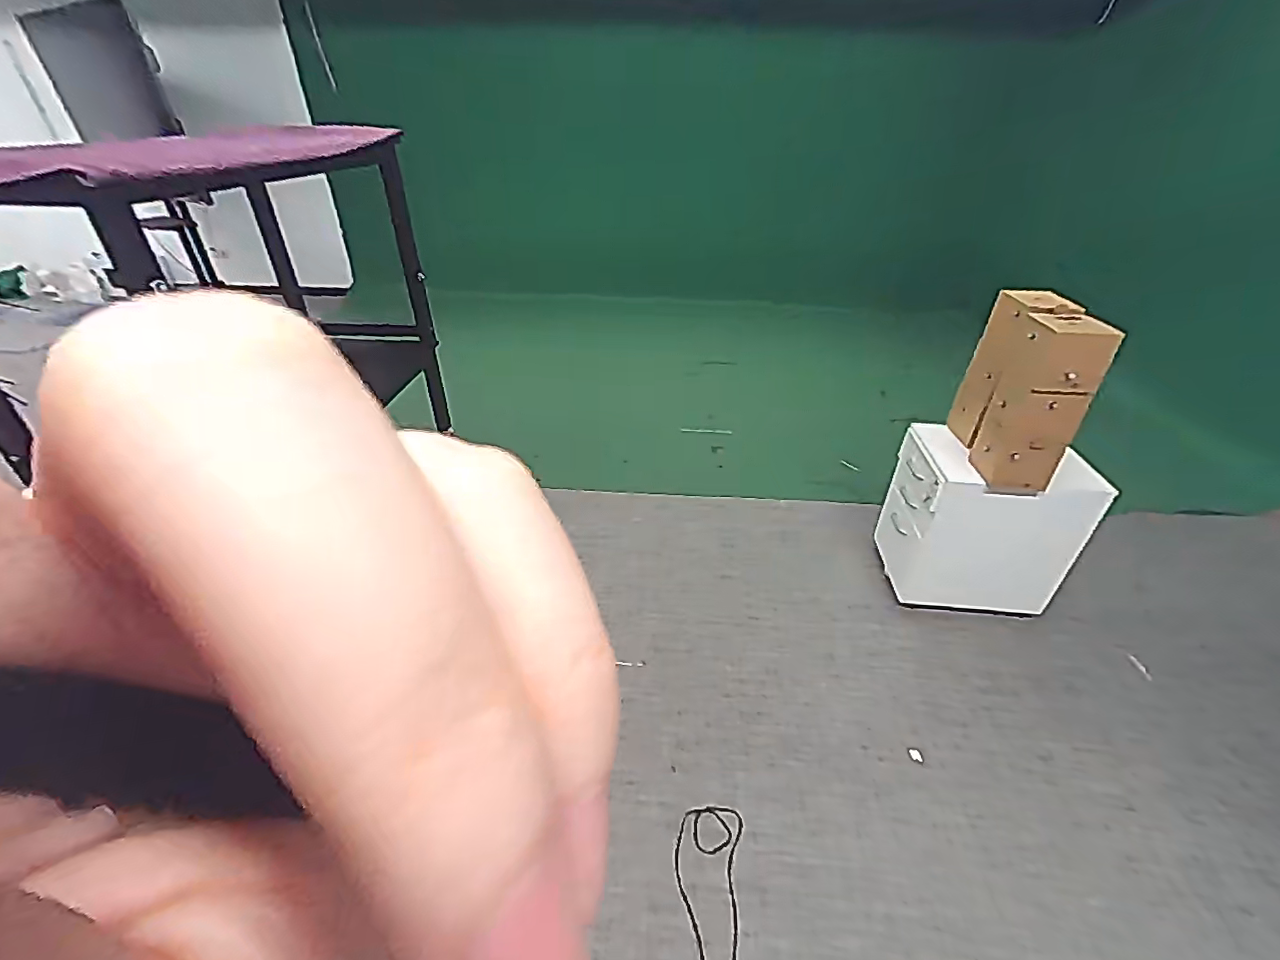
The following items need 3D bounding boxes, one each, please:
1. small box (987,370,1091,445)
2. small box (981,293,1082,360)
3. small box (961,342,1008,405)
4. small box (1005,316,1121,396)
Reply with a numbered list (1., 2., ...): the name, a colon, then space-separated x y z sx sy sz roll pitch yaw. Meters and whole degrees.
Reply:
1. small box: 1.170 -0.215 1.608 0.179 0.176 0.168 4 34 4
2. small box: 1.230 -0.483 1.718 0.168 0.176 0.179 2 36 -1
3. small box: 1.221 -0.350 1.812 0.168 0.176 0.179 2 35 -1
4. small box: 1.169 -0.349 1.513 0.168 0.176 0.179 3 34 4
